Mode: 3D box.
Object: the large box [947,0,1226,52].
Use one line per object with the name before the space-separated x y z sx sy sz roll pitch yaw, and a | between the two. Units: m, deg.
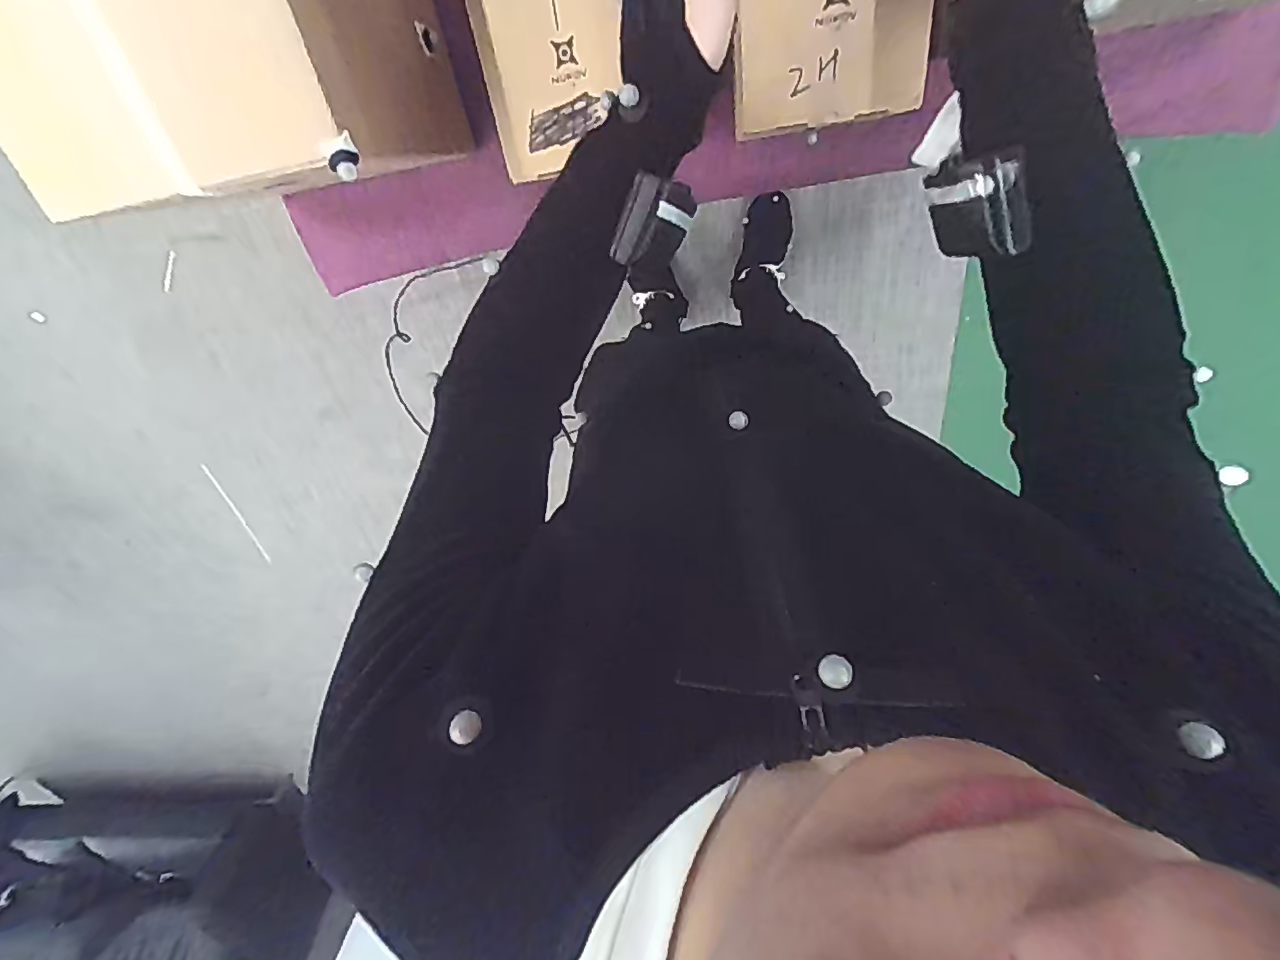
large box | 0.442 -0.579 0.355 0.320 0.320 0.408 -5 122 10
